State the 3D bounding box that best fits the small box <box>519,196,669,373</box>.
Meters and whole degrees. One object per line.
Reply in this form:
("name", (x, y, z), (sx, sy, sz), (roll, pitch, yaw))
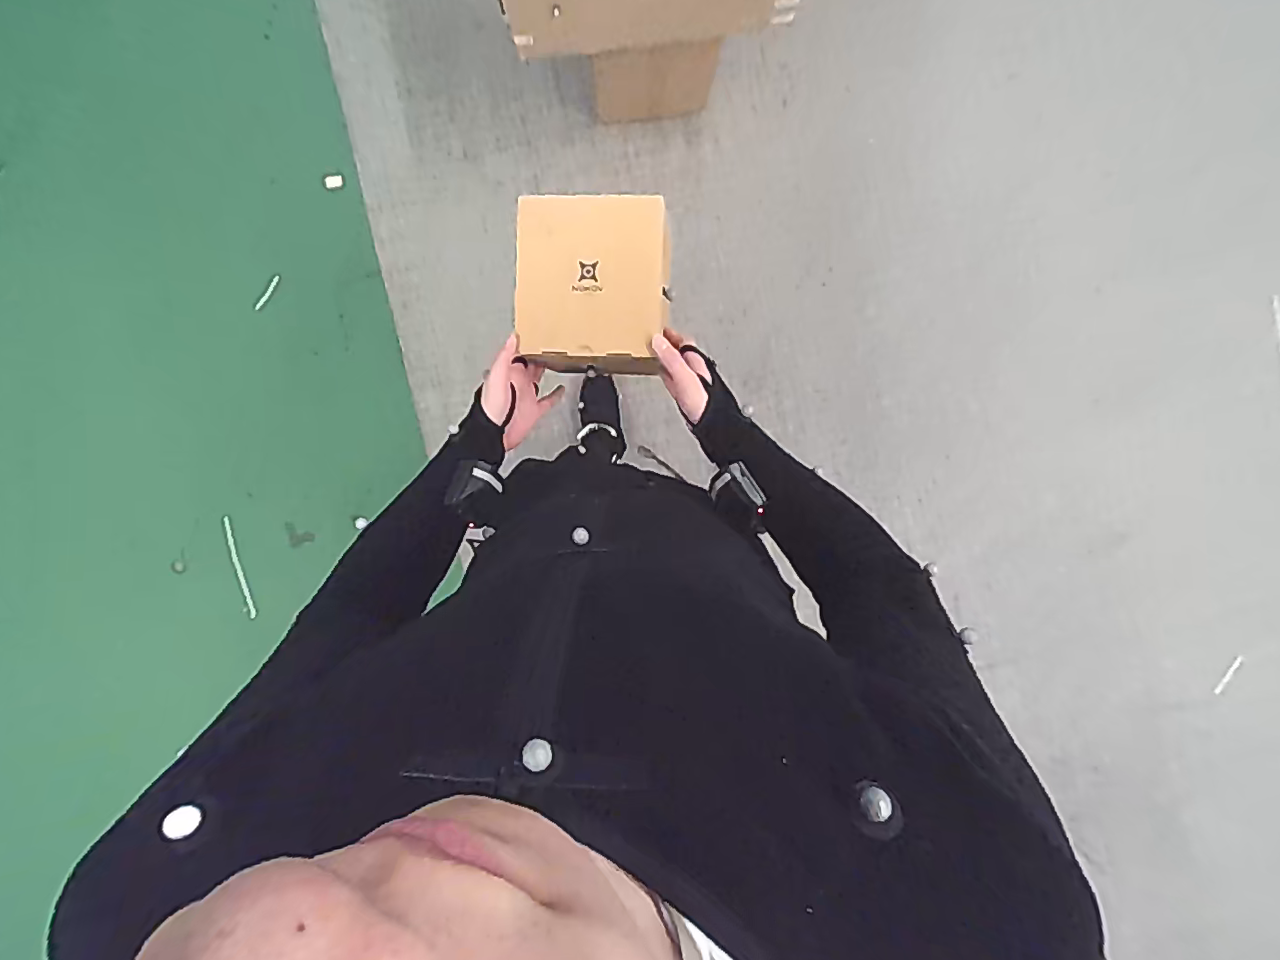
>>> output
("small box", (-0.049, -0.234, 0.686), (0.168, 0.176, 0.179), (2, 97, 4))
